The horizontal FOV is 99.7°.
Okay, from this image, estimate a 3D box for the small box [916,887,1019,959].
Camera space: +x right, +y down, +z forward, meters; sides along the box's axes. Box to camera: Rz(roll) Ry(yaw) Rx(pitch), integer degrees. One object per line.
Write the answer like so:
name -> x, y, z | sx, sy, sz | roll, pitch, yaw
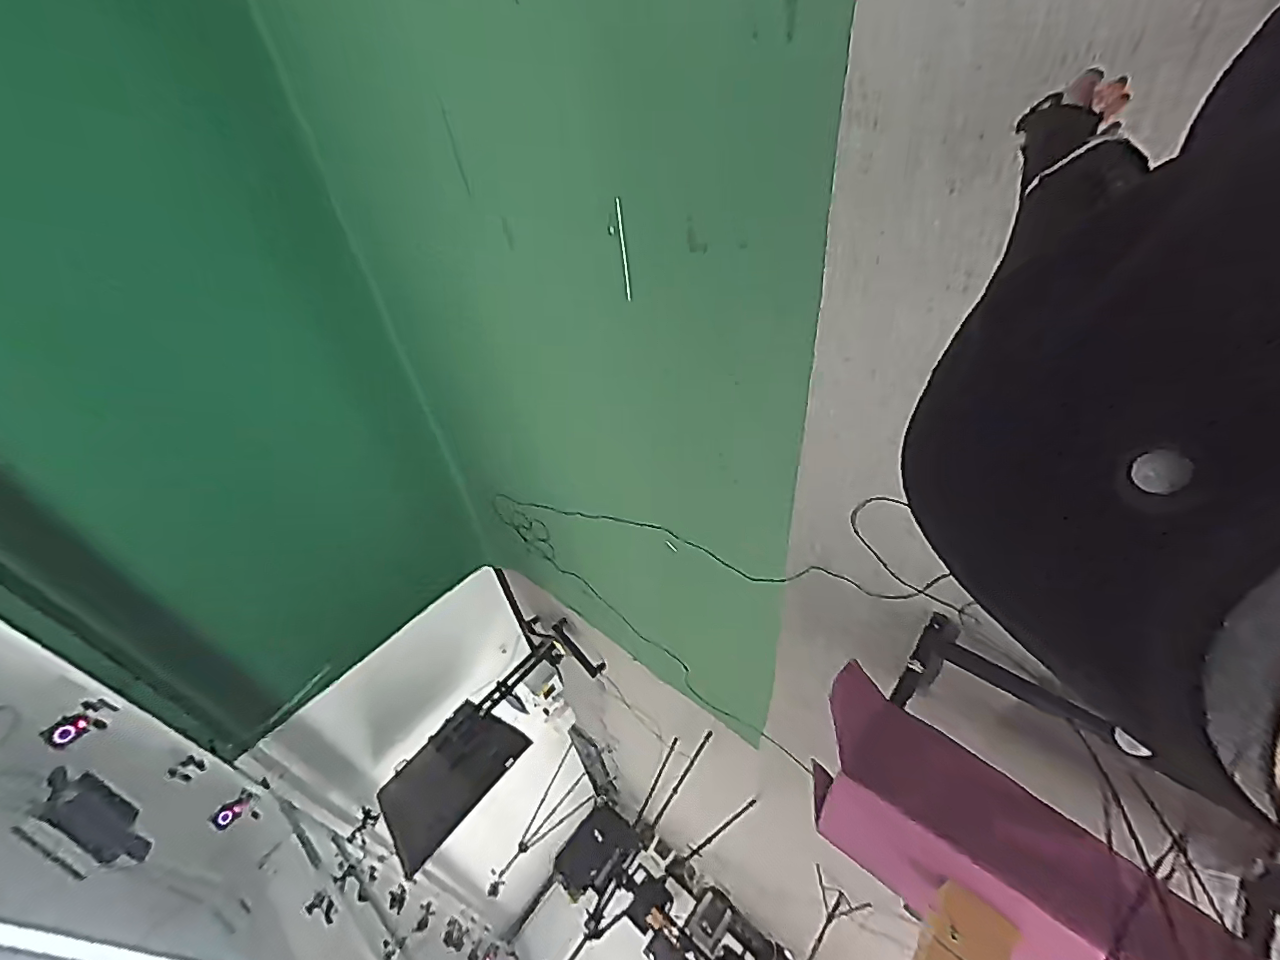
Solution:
small box -> 0.911, 1.279, 1.509 | 0.179, 0.176, 0.168 | 28, 143, 31
